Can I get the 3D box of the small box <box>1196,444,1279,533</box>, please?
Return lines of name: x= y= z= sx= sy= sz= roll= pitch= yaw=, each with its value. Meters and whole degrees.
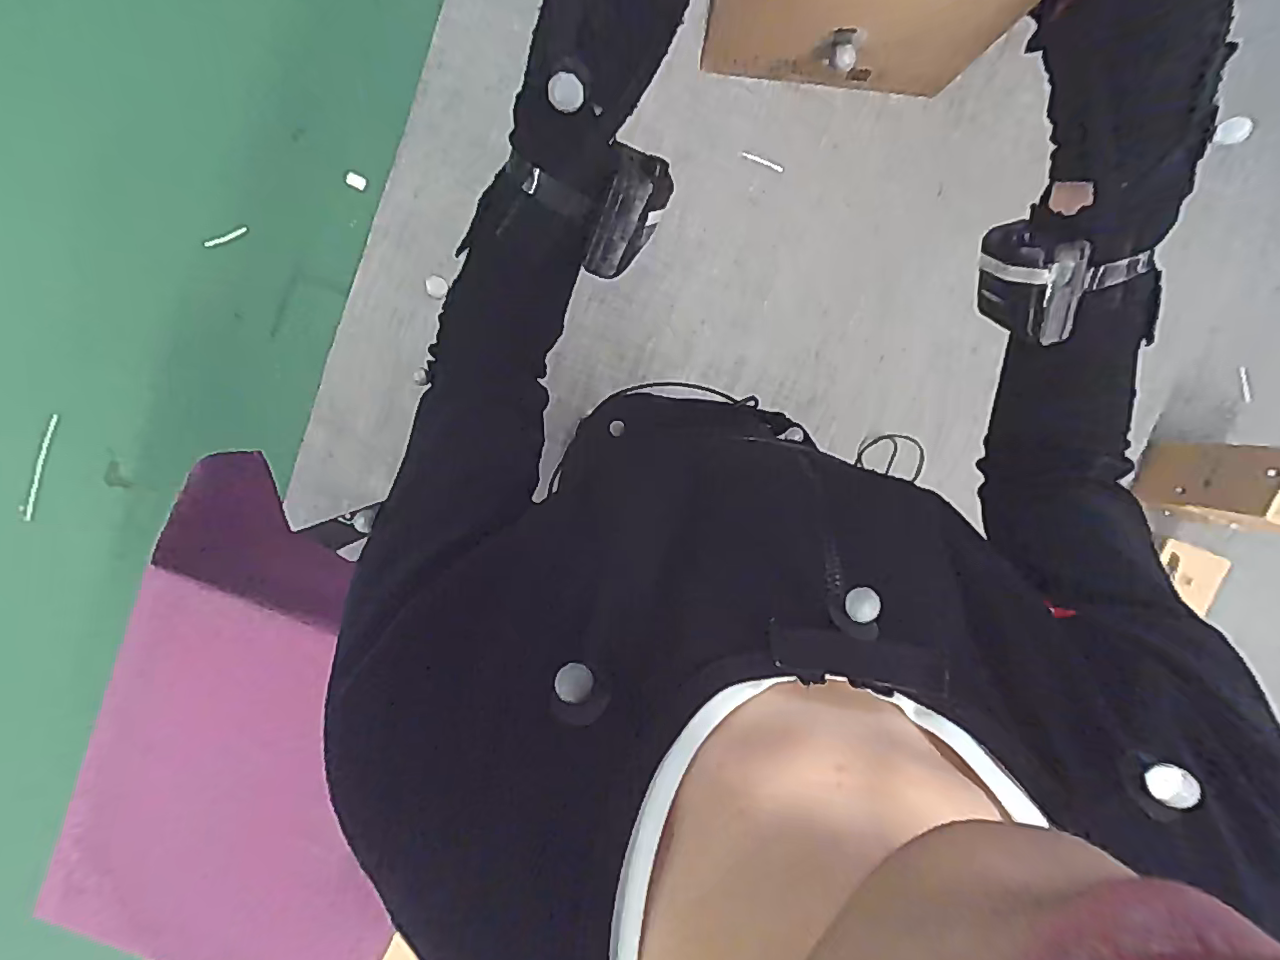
small box: x=1.442 y=0.024 z=1.215 sx=0.179 sy=0.176 sz=0.168 roll=21 pitch=96 yaw=-3

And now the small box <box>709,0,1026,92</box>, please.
small box: x=0.134 y=-0.344 z=0.273 sx=0.168 sy=0.176 sz=0.179 roll=7 pitch=102 yaw=-1

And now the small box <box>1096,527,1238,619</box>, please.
small box: x=1.353 y=0.232 z=1.404 sx=0.179 sy=0.176 sz=0.168 roll=20 pitch=97 yaw=-2
